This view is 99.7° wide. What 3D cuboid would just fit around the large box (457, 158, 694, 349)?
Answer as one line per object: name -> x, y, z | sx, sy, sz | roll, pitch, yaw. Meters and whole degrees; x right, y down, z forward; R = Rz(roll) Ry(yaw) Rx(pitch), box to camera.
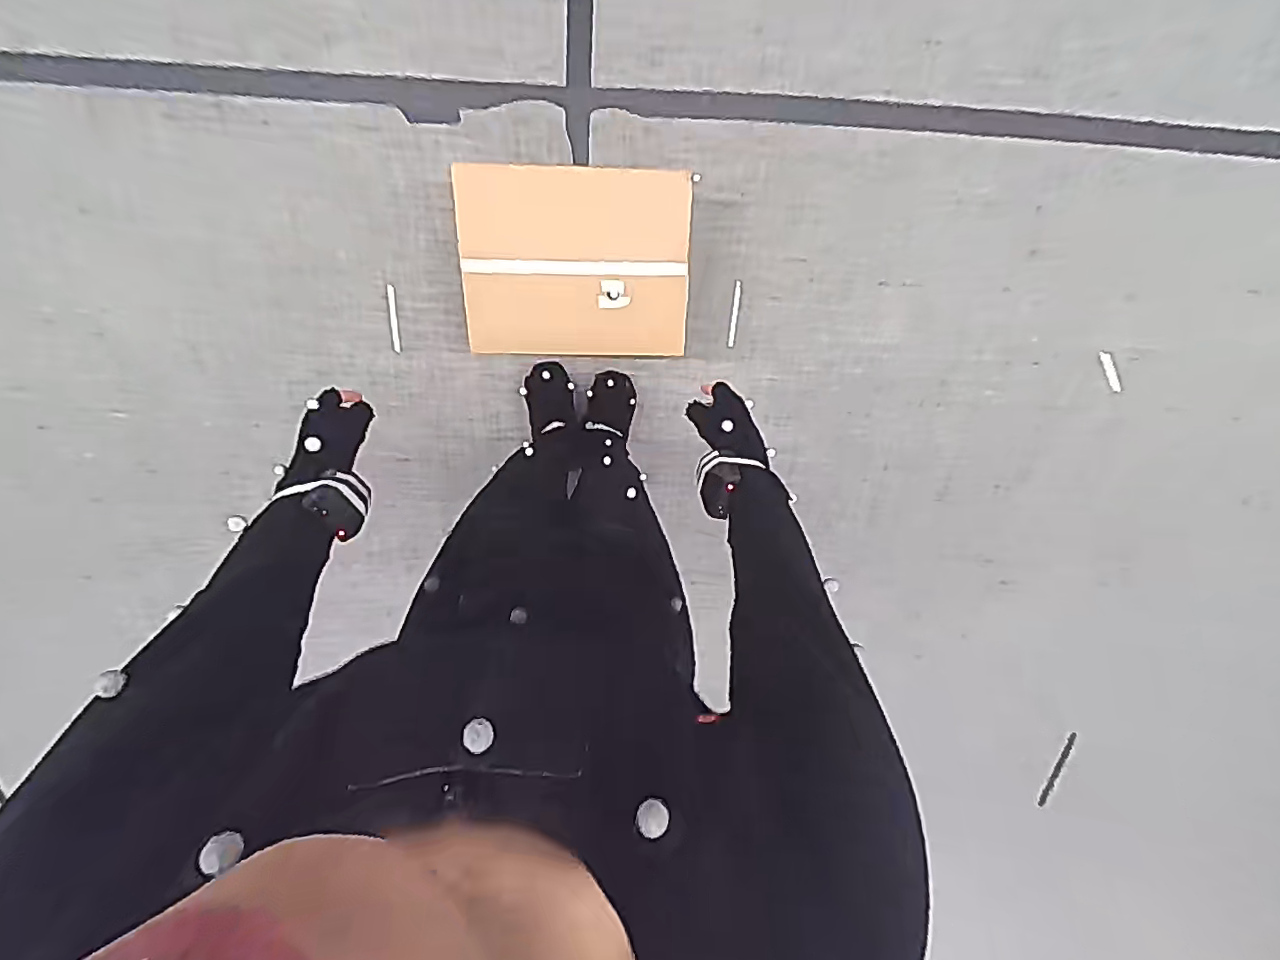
large box -> -0.120, -0.451, 1.099 | 0.408, 0.320, 0.320 | -1, 114, -5
